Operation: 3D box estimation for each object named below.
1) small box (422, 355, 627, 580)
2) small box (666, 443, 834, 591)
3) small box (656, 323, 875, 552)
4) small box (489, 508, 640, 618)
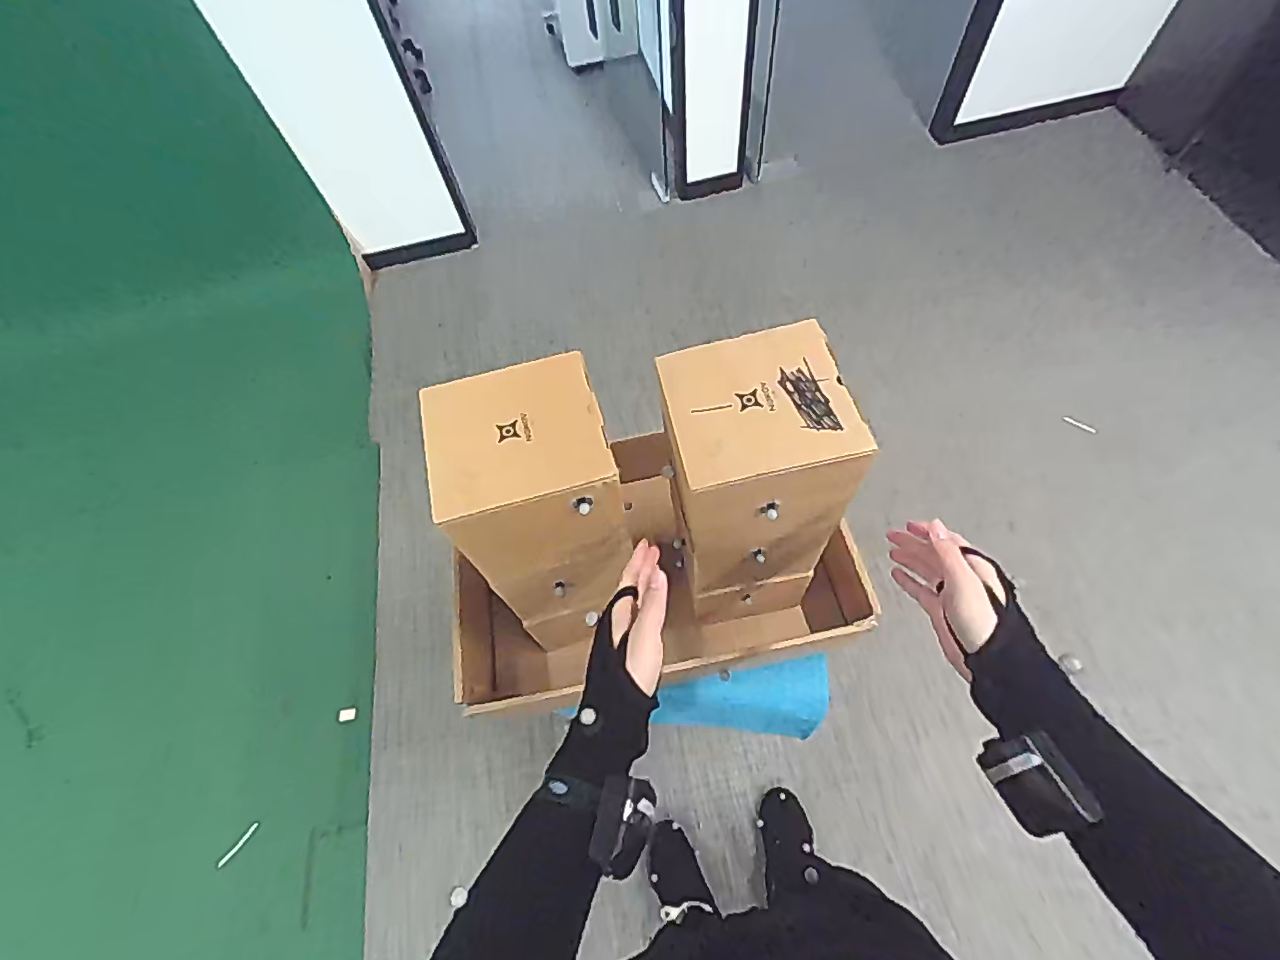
[{"bbox_3d":[-0.121,-0.006,0.604,0.179,0.176,0.168,-15,60,-6],"label":"small box"},{"bbox_3d":[0.140,0.039,0.737,0.179,0.176,0.168,-11,61,1],"label":"small box"},{"bbox_3d":[0.123,-0.038,0.593,0.179,0.176,0.168,-13,61,1],"label":"small box"},{"bbox_3d":[-0.107,0.075,0.746,0.179,0.176,0.168,-15,61,-5],"label":"small box"}]
